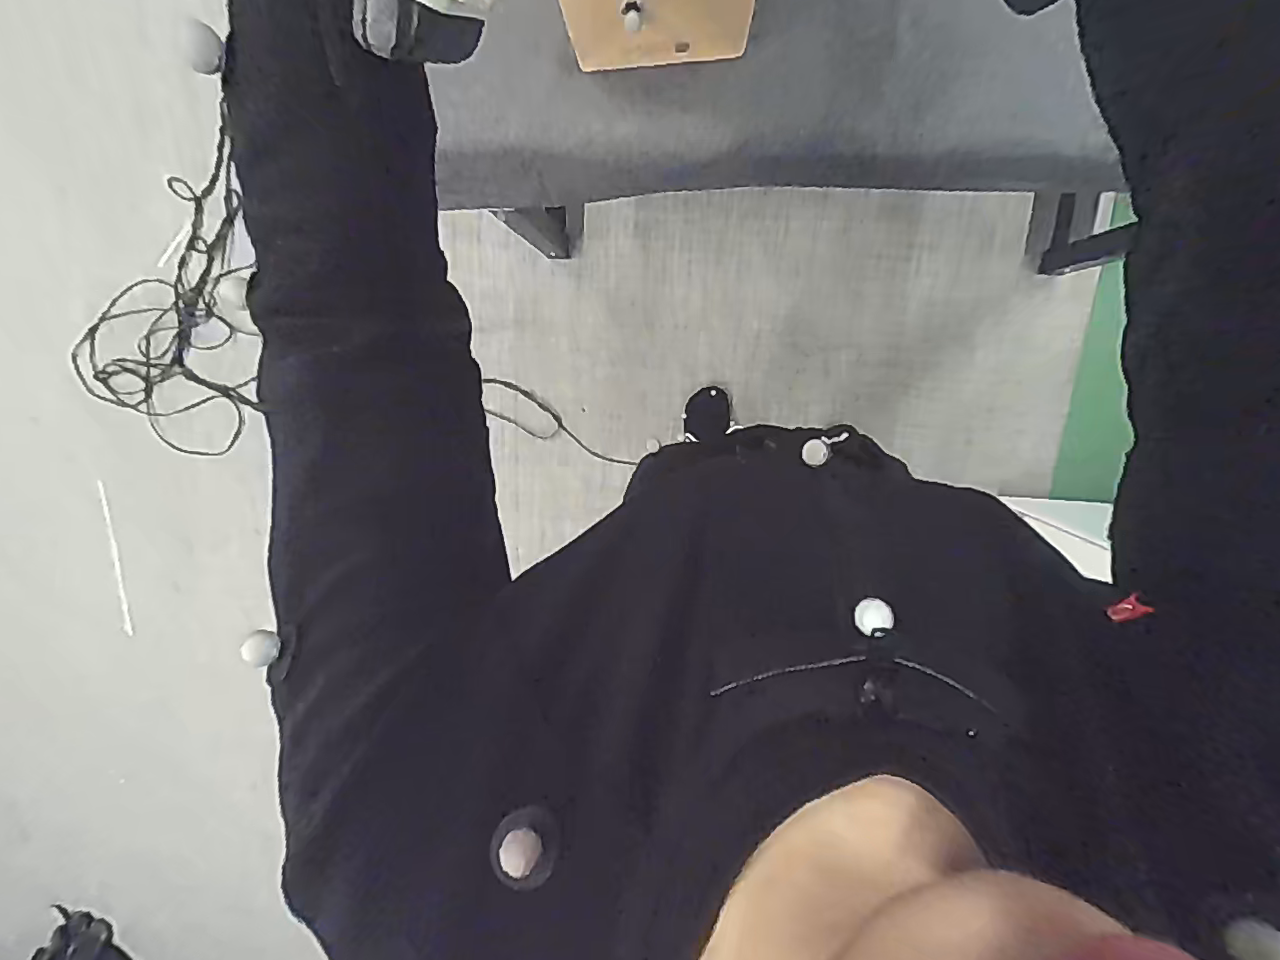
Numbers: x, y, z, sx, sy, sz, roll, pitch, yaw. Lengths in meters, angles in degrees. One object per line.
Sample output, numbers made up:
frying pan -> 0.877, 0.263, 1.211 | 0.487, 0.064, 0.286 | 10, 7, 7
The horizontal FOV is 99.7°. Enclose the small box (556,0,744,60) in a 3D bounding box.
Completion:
small box -> 0.008, -0.490, 0.453 | 0.168, 0.176, 0.179 | -2, 101, 4
